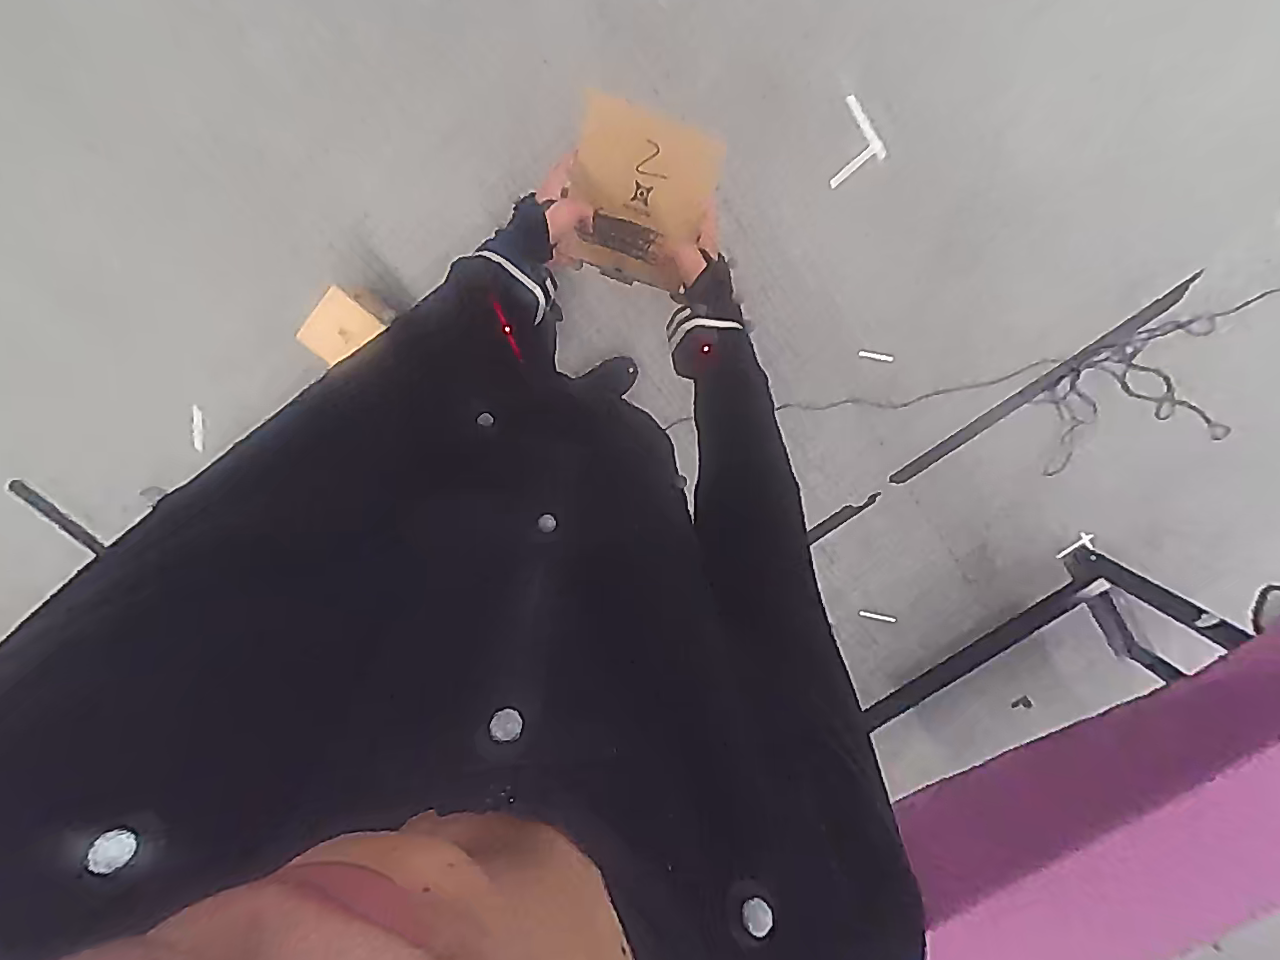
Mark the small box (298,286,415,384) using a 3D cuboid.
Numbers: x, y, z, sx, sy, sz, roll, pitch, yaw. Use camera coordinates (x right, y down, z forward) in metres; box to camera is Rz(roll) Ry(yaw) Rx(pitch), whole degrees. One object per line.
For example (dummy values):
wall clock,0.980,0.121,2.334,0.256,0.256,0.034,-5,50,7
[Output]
small box,-0.717,-0.374,1.387,0.179,0.176,0.168,40,102,-16
